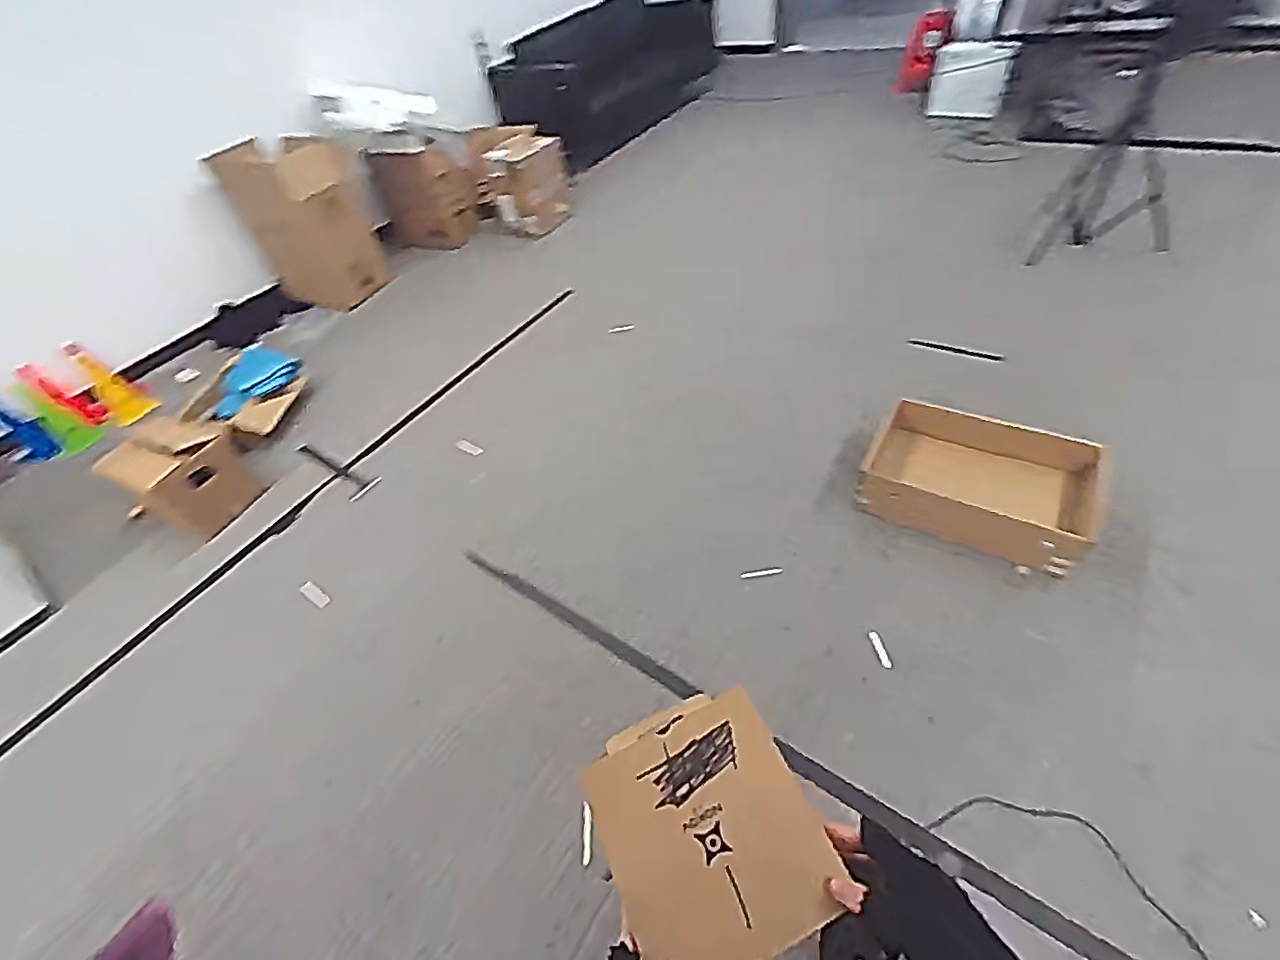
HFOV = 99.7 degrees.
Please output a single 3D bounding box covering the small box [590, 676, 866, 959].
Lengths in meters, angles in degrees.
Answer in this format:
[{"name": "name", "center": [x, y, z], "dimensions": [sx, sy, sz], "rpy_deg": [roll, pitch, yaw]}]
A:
[{"name": "small box", "center": [0.067, 0.317, 0.498], "dimensions": [0.168, 0.176, 0.179], "rpy_deg": [-22, 54, -11]}]
